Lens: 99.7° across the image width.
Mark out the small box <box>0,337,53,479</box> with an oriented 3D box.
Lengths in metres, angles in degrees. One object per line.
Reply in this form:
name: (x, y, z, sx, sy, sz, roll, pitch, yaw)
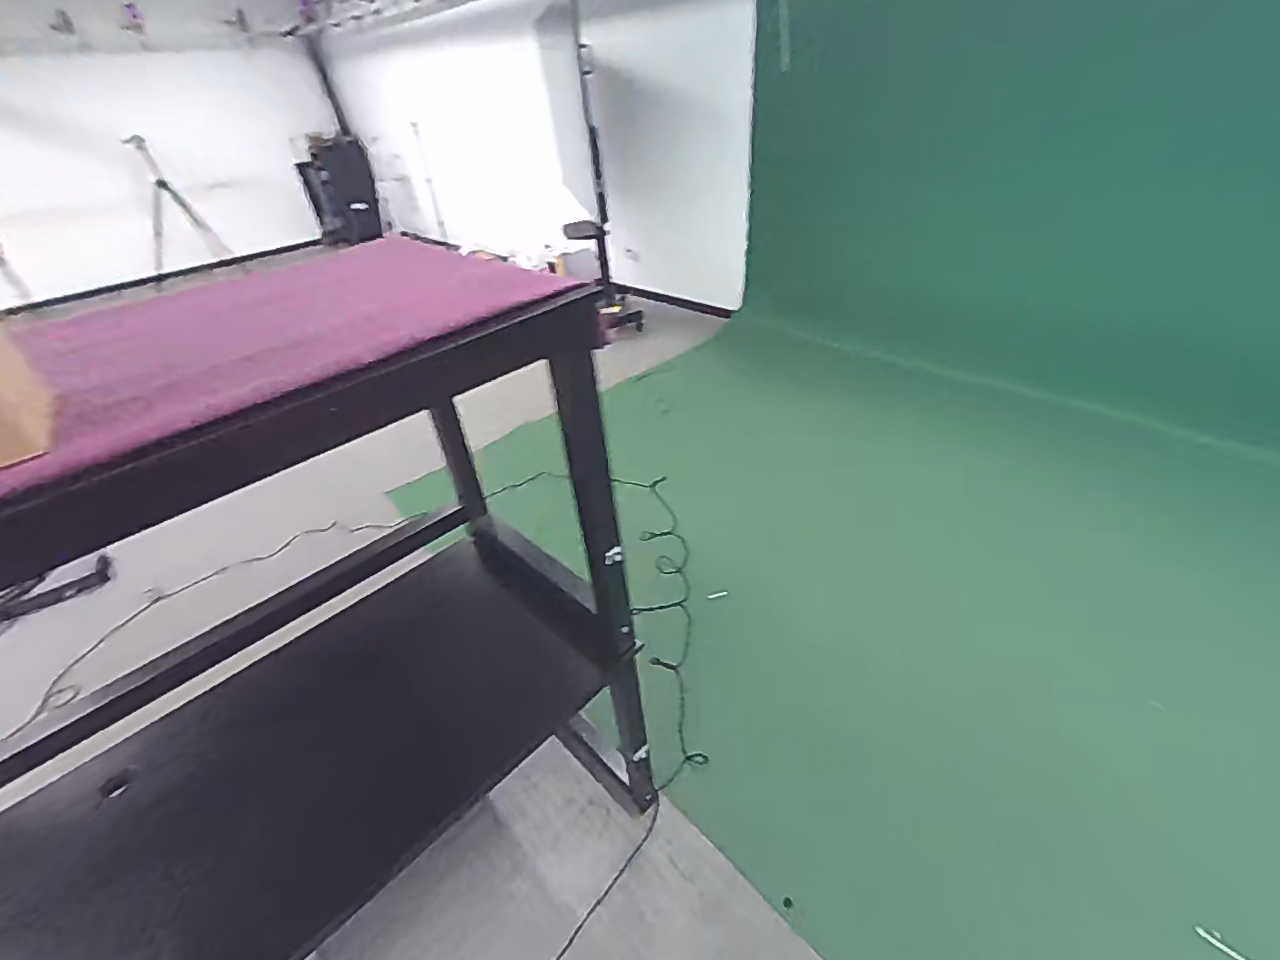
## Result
small box: (-0.617, -0.077, 0.418, 0.168, 0.176, 0.179, -32, 43, -30)
